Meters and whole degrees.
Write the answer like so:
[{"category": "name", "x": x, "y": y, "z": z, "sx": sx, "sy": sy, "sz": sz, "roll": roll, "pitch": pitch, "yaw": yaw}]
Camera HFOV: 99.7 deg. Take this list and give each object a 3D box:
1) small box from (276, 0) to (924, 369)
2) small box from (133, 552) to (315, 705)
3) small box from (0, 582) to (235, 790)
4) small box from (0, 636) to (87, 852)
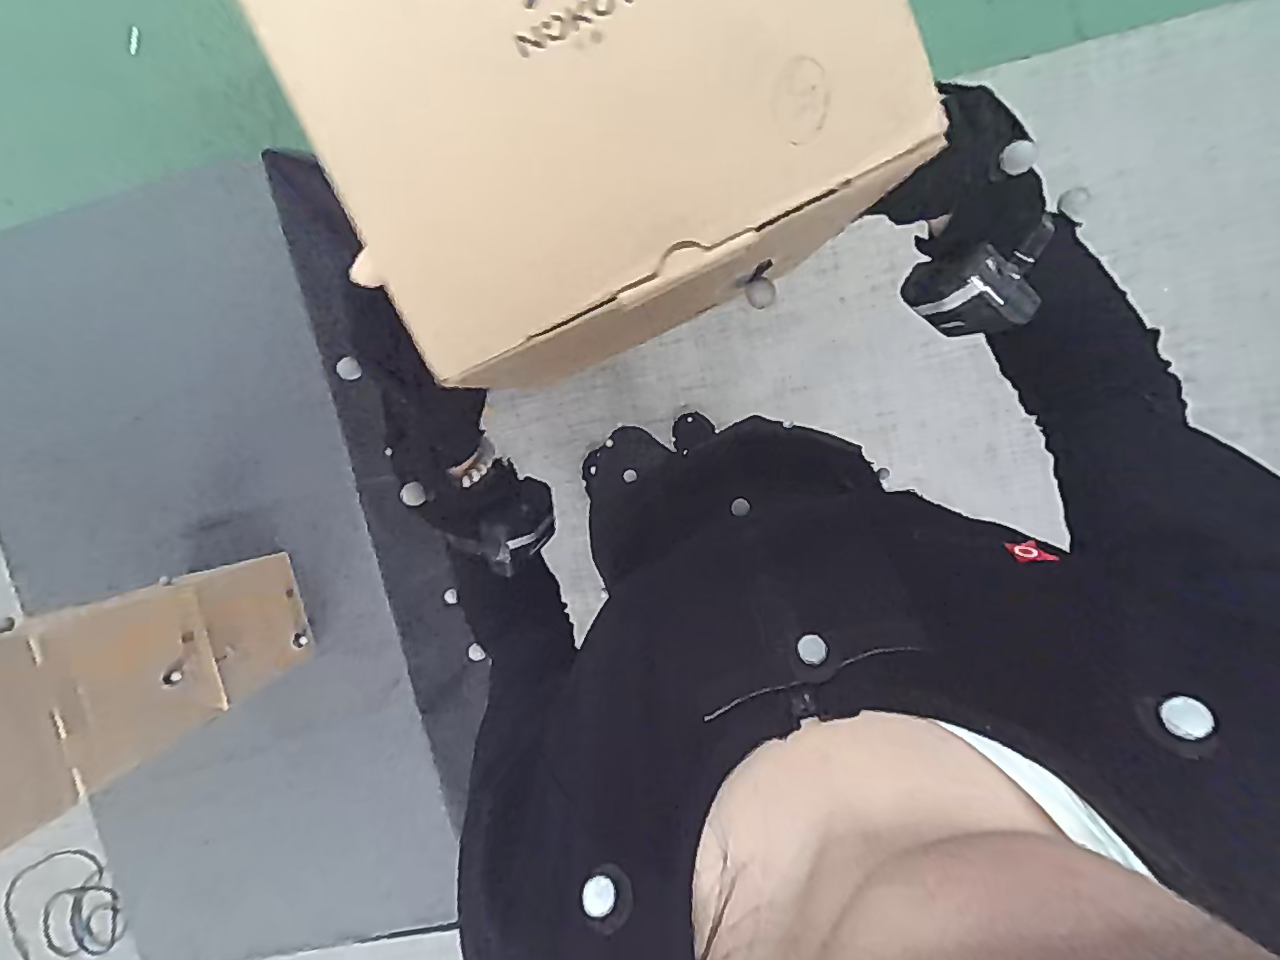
[{"category": "small box", "x": -0.019, "y": -0.160, "z": 0.235, "sx": 0.168, "sy": 0.176, "sz": 0.179, "roll": -24, "pitch": 99, "yaw": 5}, {"category": "small box", "x": -0.596, "y": 0.211, "z": 0.761, "sx": 0.179, "sy": 0.176, "sz": 0.168, "roll": -13, "pitch": 94, "yaw": 7}, {"category": "small box", "x": -0.611, "y": 0.226, "z": 0.601, "sx": 0.179, "sy": 0.176, "sz": 0.168, "roll": -13, "pitch": 94, "yaw": 6}, {"category": "small box", "x": -0.623, "y": 0.240, "z": 0.437, "sx": 0.168, "sy": 0.176, "sz": 0.179, "roll": -12, "pitch": 94, "yaw": 6}]
